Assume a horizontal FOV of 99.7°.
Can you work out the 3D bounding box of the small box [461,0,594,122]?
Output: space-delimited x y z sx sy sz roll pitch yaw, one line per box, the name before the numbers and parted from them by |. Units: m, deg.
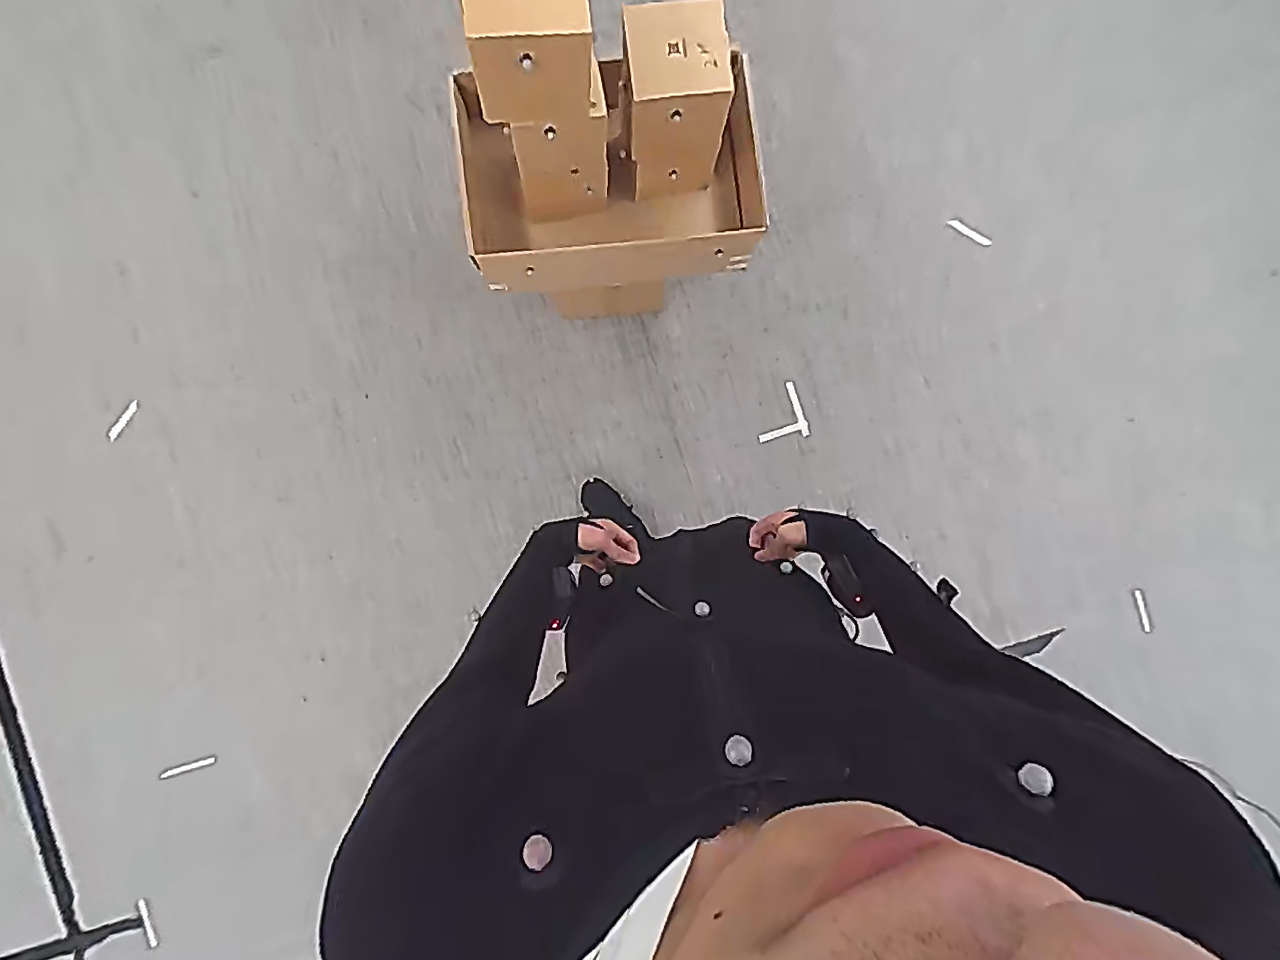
small box | -0.166 -0.676 0.814 0.179 0.176 0.168 -7 89 -5
